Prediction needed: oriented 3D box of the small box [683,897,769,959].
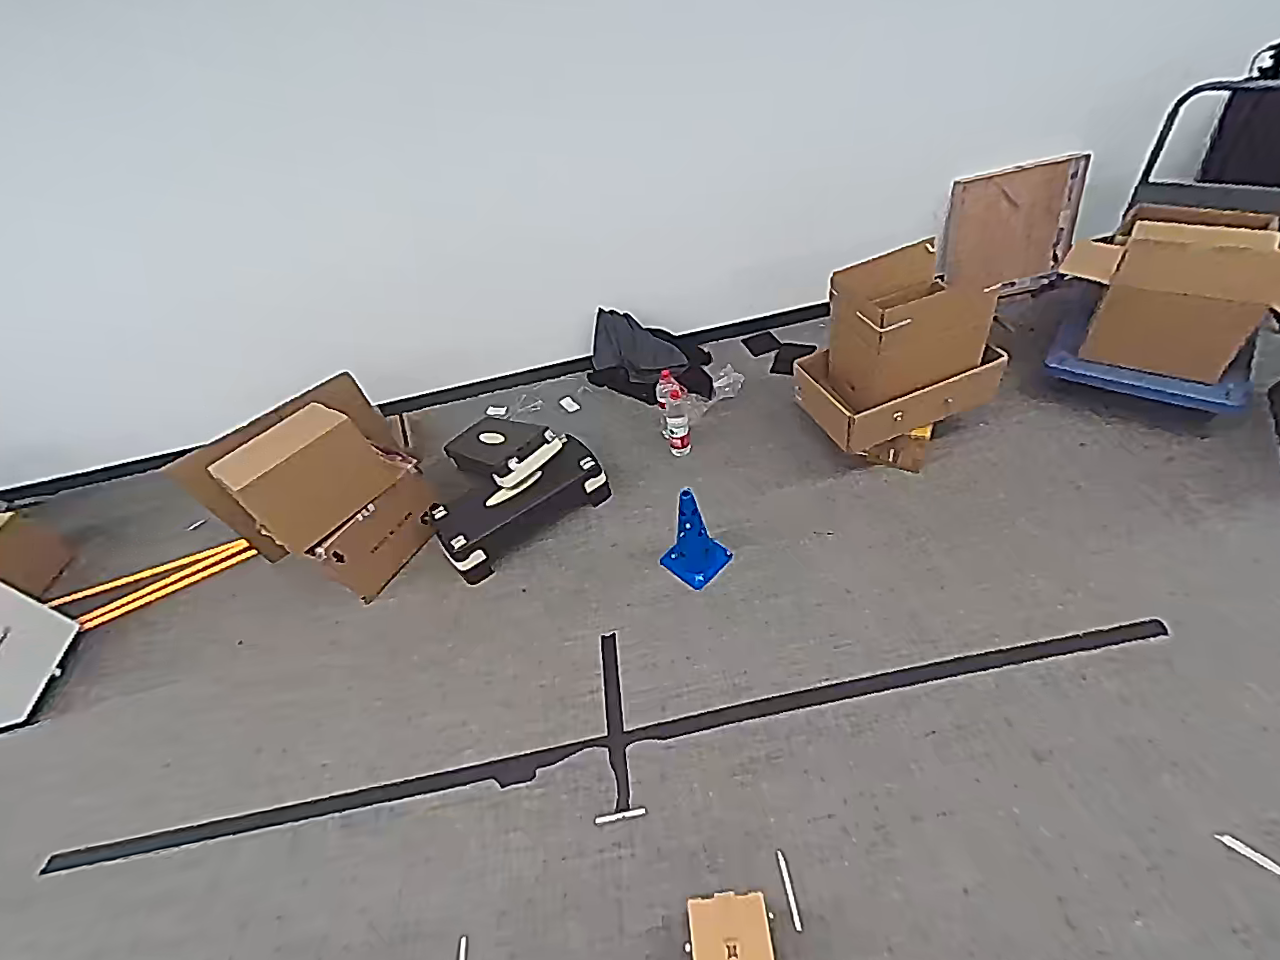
[{"bbox_3d":[0.191,1.018,1.159,0.168,0.176,0.179,-9,45,4],"label":"small box"}]
